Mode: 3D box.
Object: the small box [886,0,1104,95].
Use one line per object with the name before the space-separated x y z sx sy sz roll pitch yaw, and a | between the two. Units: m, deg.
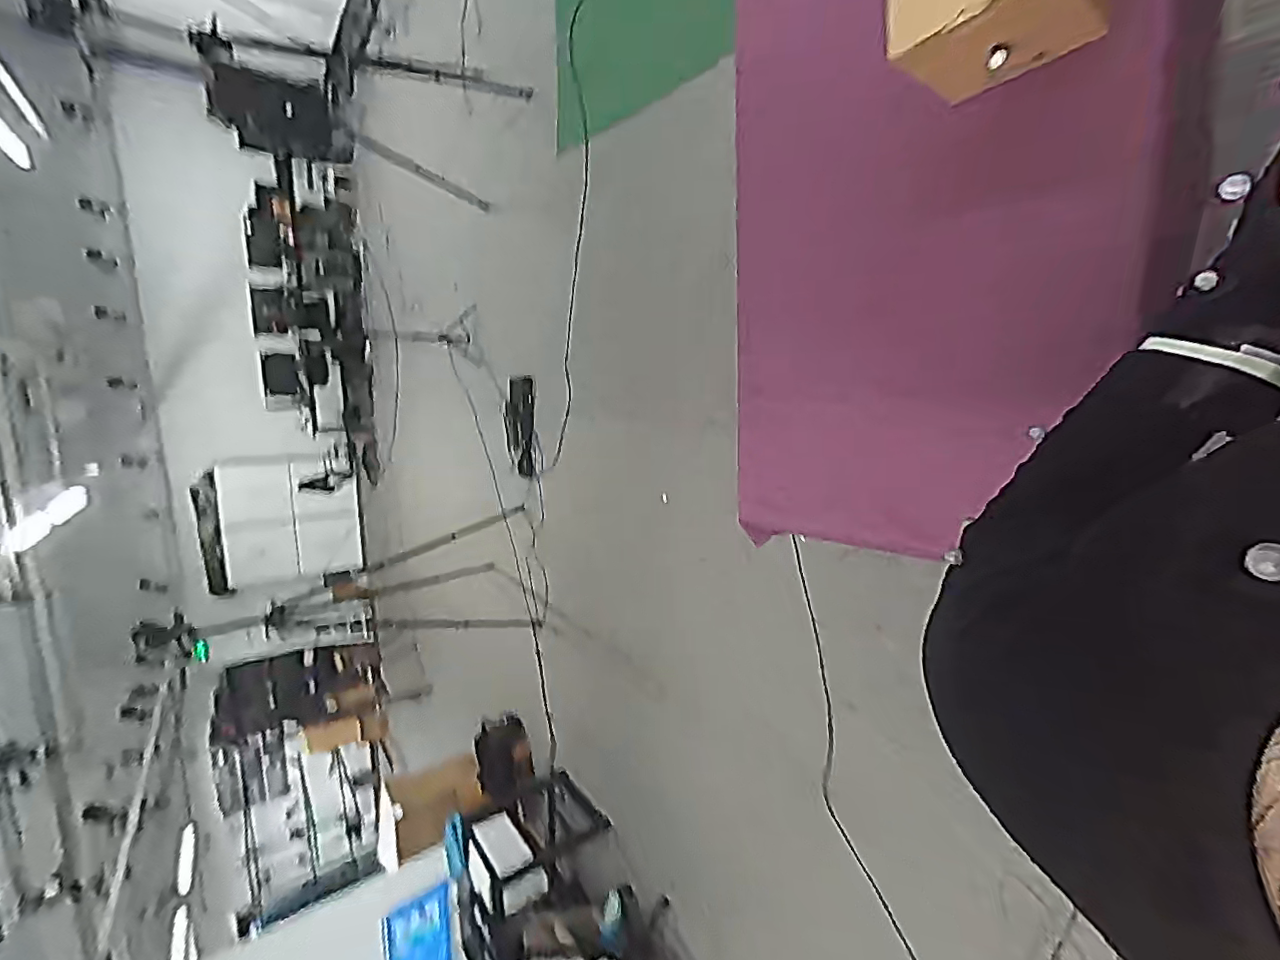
small box | 0.401 -0.573 0.610 0.168 0.176 0.179 6 101 53
